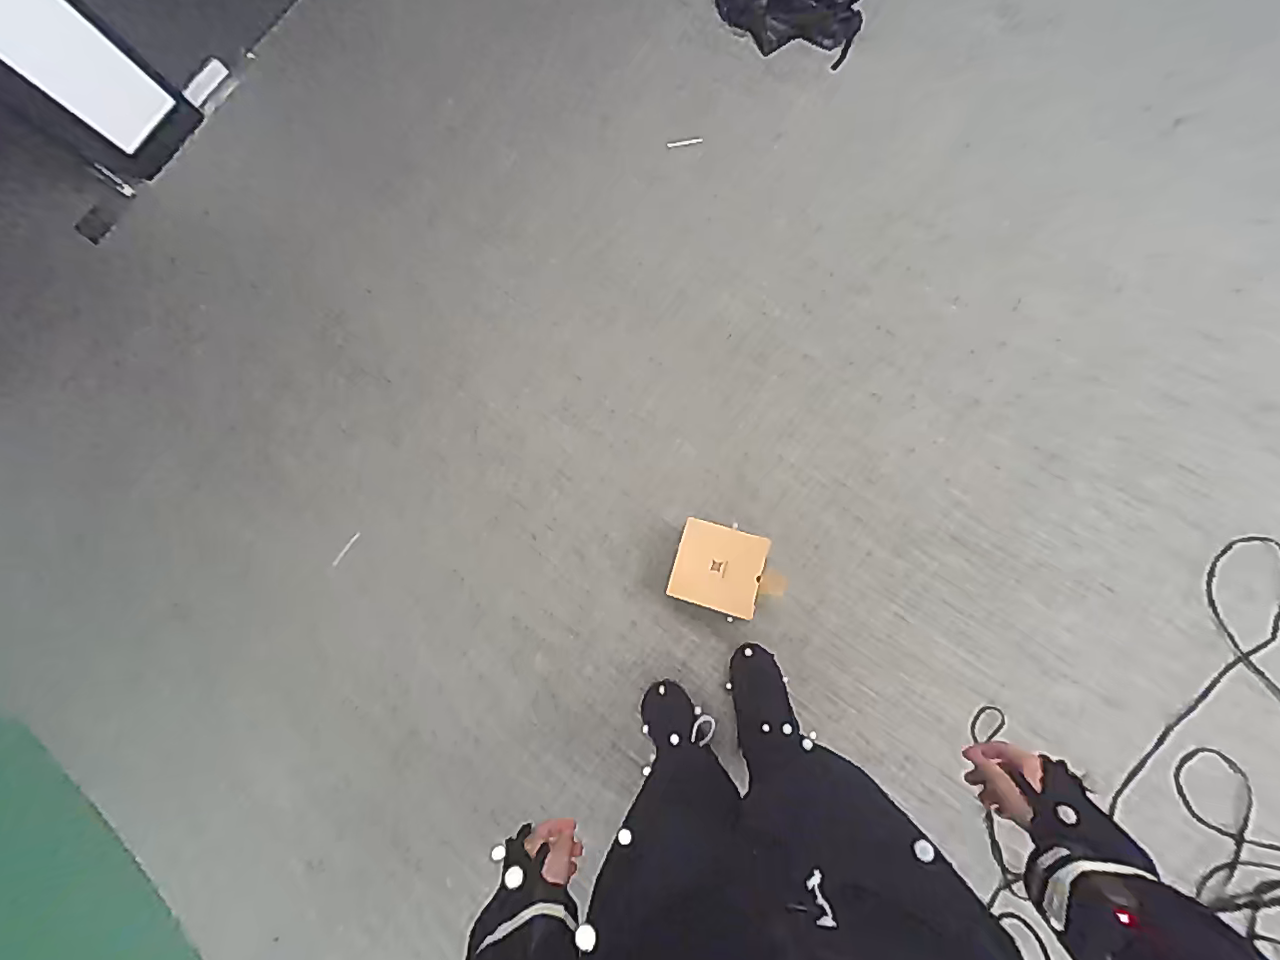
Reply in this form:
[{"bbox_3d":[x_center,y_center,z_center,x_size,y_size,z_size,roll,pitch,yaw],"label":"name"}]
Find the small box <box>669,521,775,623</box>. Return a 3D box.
[{"bbox_3d":[0.173,0.198,1.146,0.179,0.176,0.168,15,80,11],"label":"small box"}]
